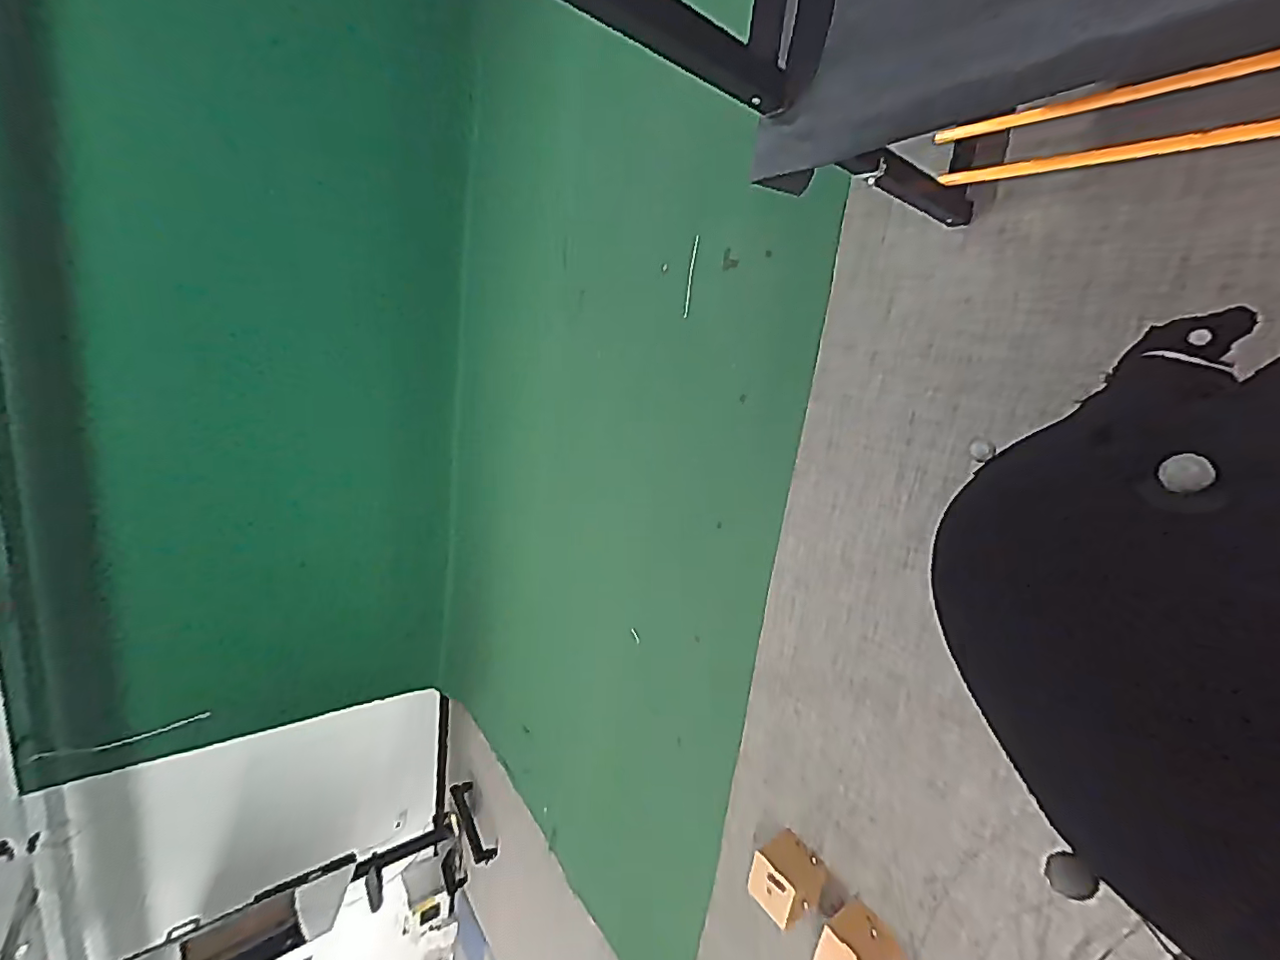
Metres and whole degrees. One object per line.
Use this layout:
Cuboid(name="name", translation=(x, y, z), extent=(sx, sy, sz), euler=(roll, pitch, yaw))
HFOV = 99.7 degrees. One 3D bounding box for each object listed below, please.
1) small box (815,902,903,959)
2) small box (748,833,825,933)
Cuboid(name="small box", translation=(0.649, 1.419, 1.603), extent=(0.168, 0.176, 0.179), euler=(27, 112, 49))
Cuboid(name="small box", translation=(0.491, 1.330, 1.802), extent=(0.168, 0.176, 0.179), euler=(26, 113, 49))
